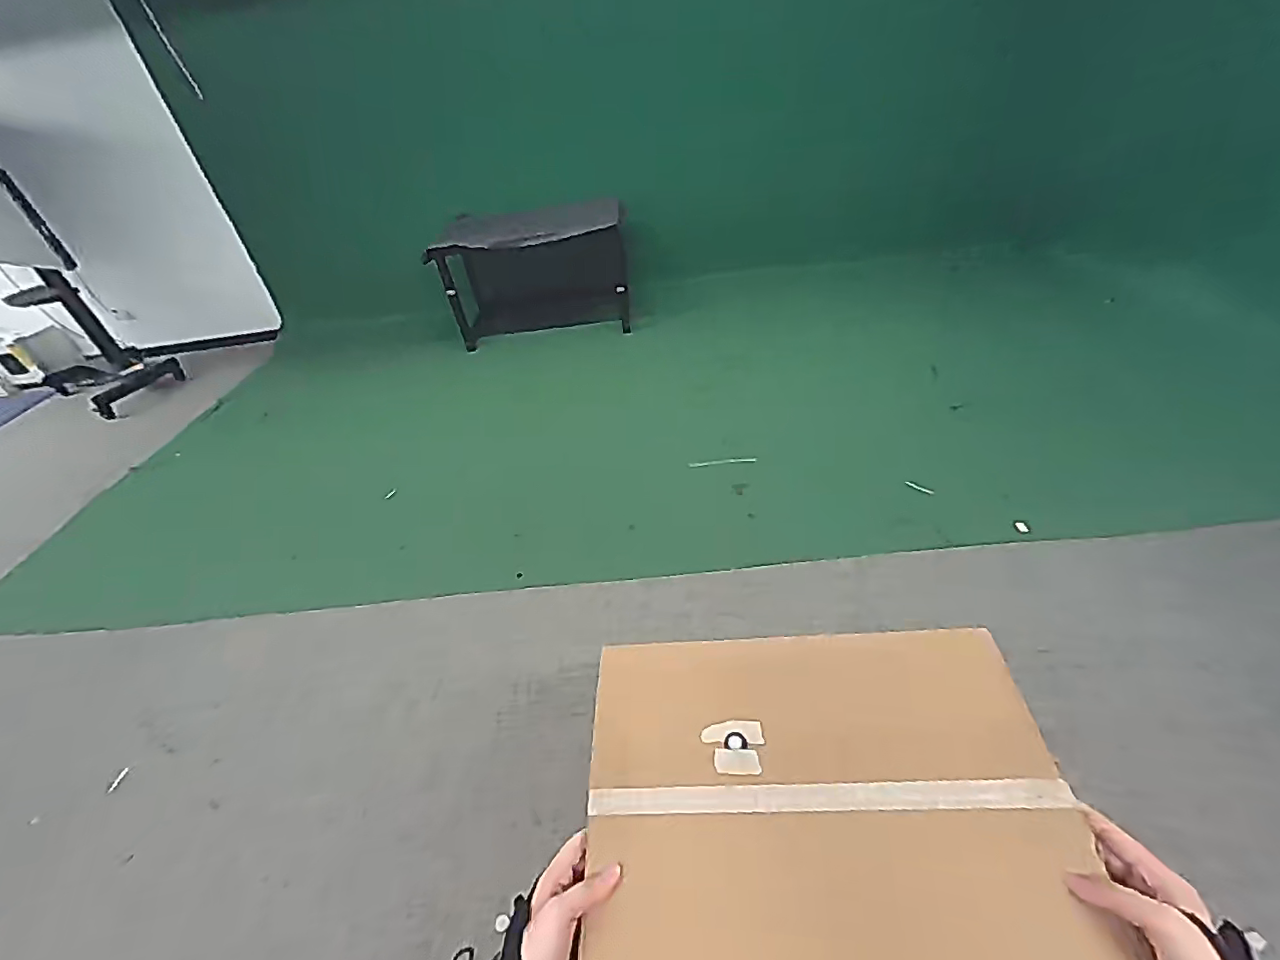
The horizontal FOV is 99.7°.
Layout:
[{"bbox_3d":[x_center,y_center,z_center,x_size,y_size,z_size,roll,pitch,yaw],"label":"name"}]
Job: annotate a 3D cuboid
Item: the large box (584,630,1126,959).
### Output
[{"bbox_3d":[0.178,0.390,0.586,0.408,0.320,0.320,-6,44,8],"label":"large box"}]
